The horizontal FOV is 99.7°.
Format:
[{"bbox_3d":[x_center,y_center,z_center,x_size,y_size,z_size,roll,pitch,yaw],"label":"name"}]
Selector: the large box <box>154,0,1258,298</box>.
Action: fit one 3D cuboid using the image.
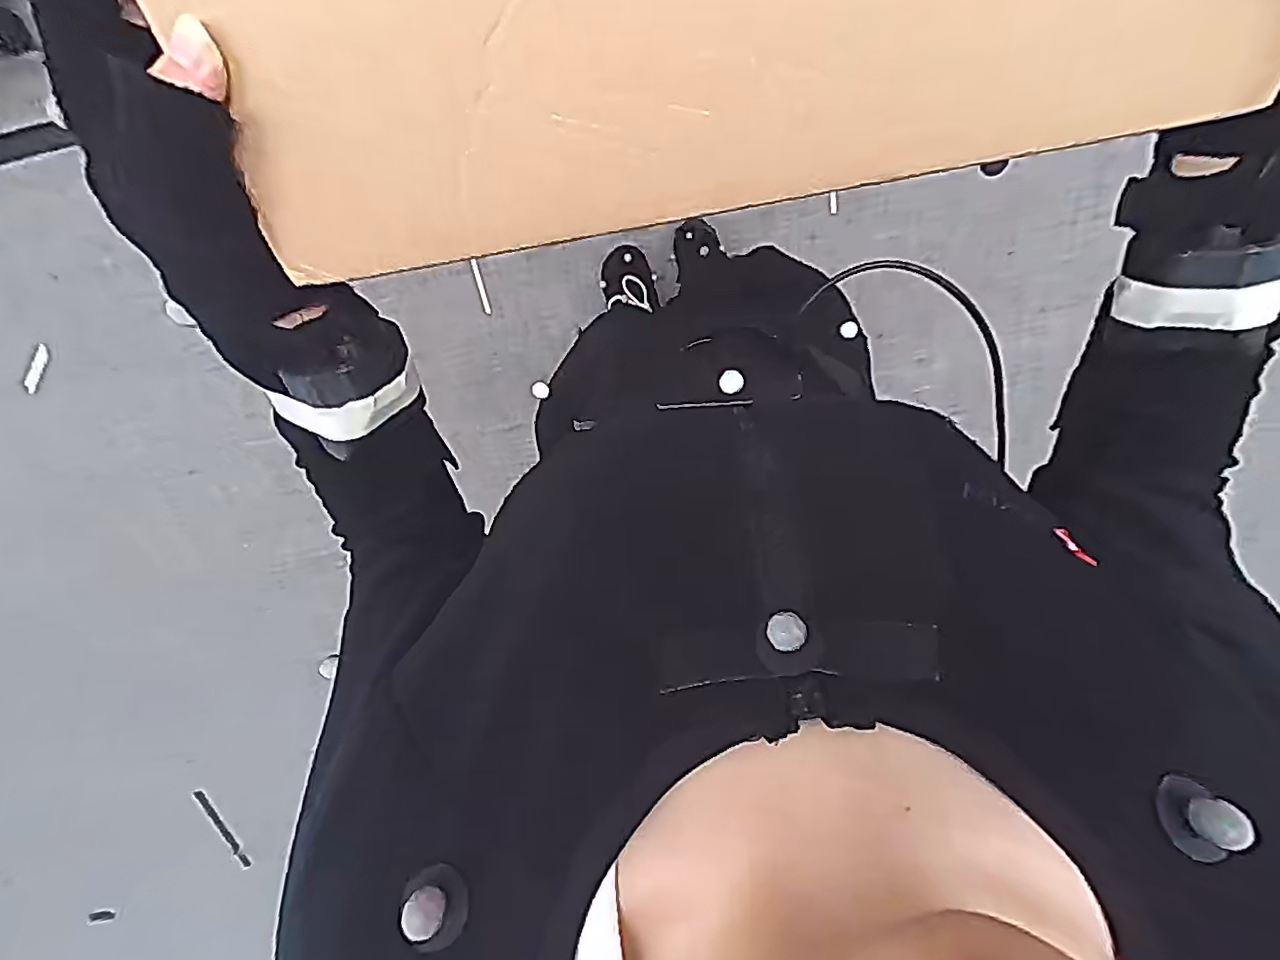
[{"bbox_3d":[0.013,-0.325,0.270,0.408,0.320,0.320,-10,124,3],"label":"large box"}]
